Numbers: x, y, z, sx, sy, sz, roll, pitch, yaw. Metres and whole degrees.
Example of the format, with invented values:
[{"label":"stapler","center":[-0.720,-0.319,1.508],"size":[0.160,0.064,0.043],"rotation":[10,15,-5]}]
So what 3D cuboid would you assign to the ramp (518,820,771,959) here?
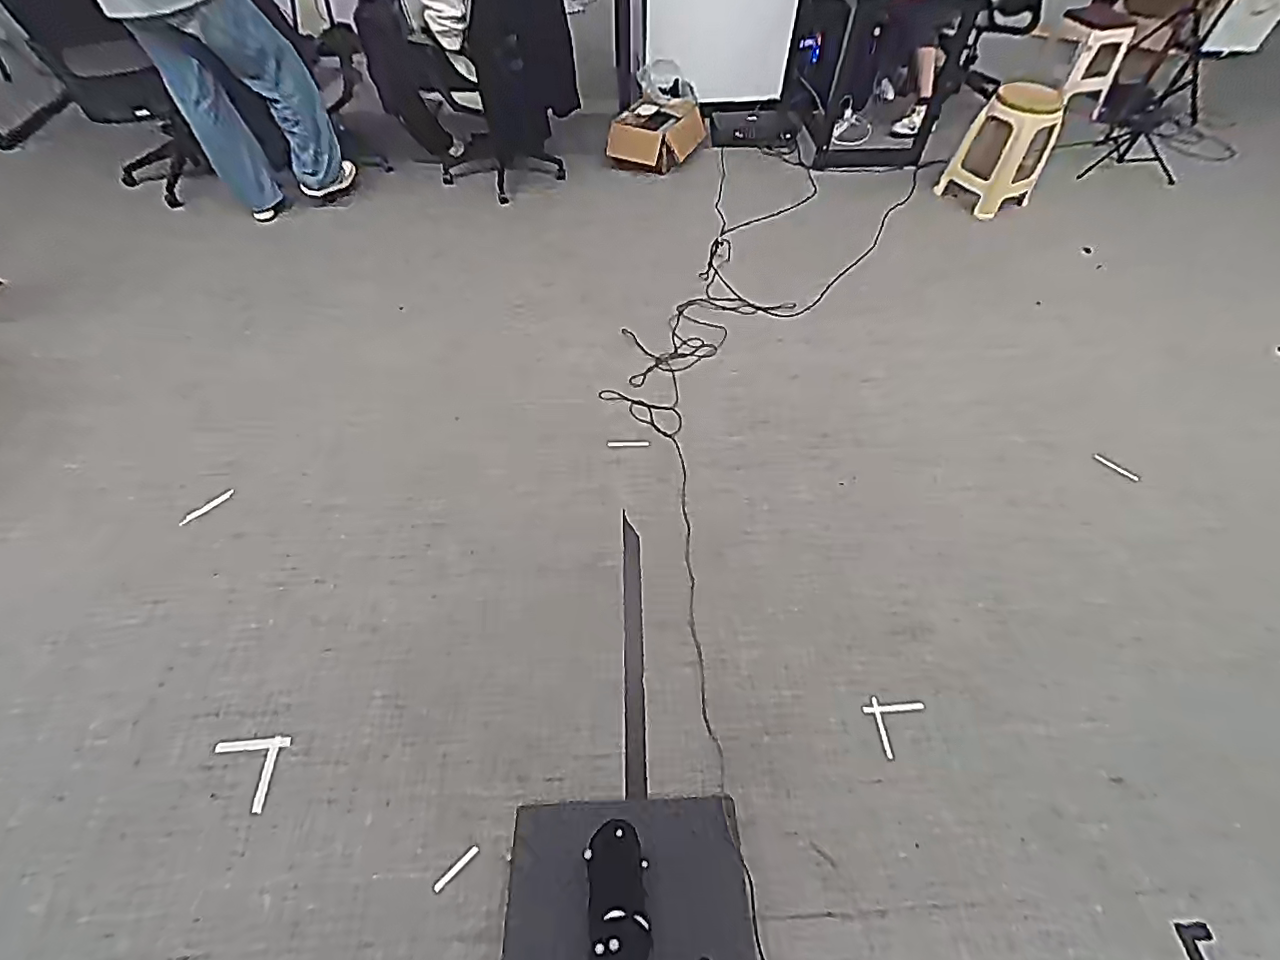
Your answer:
[{"label":"ramp","center":[0.021,1.107,0.835],"size":[0.509,0.206,0.991],"rotation":[-5,52,-2]}]
